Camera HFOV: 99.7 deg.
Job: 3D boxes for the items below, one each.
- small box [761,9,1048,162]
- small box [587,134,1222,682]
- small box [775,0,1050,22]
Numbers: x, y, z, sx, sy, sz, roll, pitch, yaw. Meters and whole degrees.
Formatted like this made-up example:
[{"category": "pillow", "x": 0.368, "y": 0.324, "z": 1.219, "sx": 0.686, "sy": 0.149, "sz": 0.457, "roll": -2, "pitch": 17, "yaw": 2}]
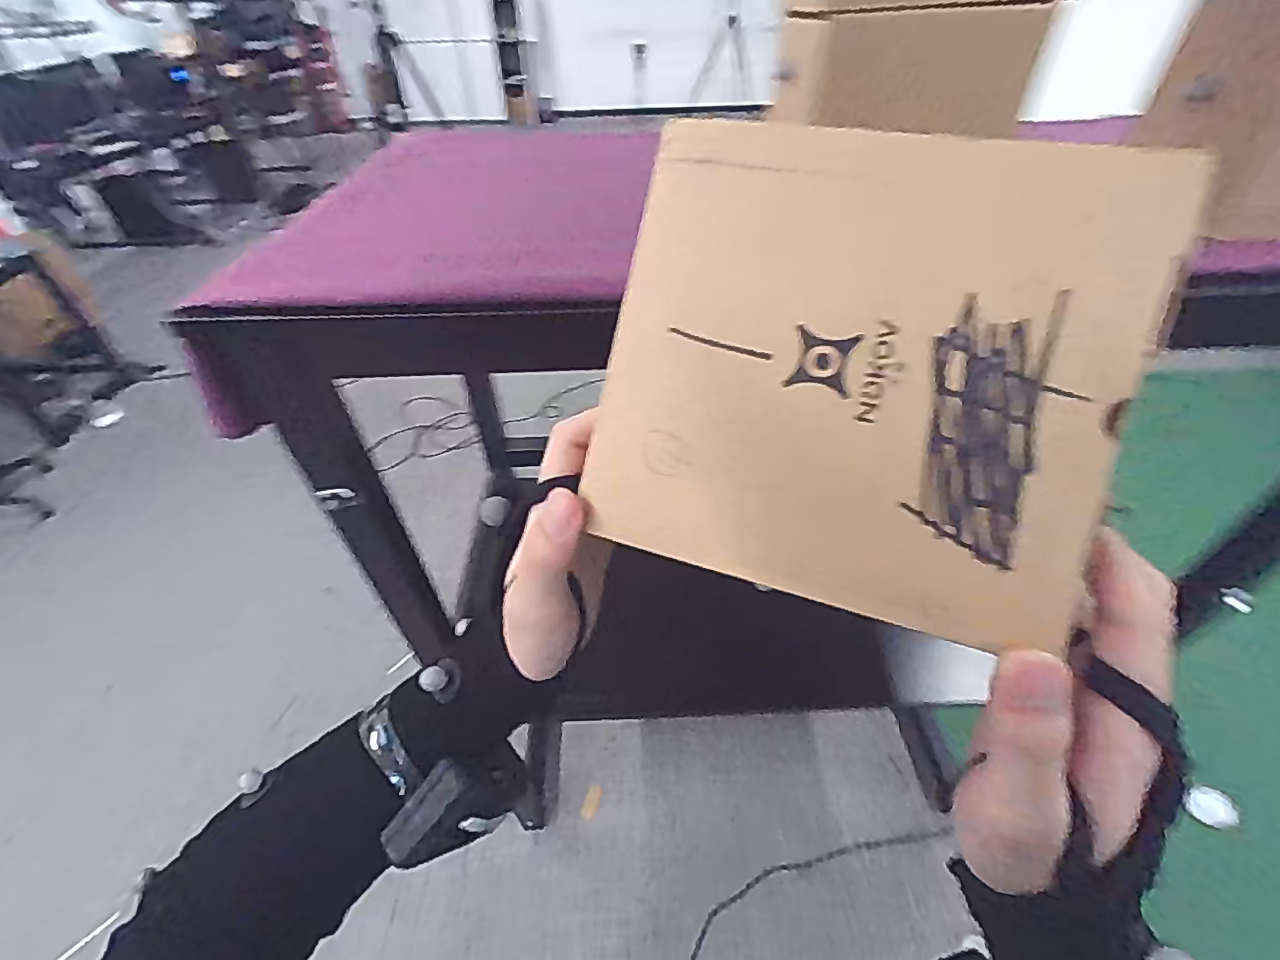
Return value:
[{"category": "small box", "x": 0.203, "y": -0.311, "z": 0.487, "sx": 0.168, "sy": 0.176, "sz": 0.179, "roll": -1, "pitch": 42, "yaw": 2}, {"category": "small box", "x": 0.100, "y": -0.032, "z": 0.268, "sx": 0.179, "sy": 0.168, "sz": 0.176, "roll": 15, "pitch": 3, "yaw": 16}, {"category": "small box", "x": 0.194, "y": -0.429, "z": 0.374, "sx": 0.179, "sy": 0.176, "sz": 0.168, "roll": -2, "pitch": 42, "yaw": 2}]
